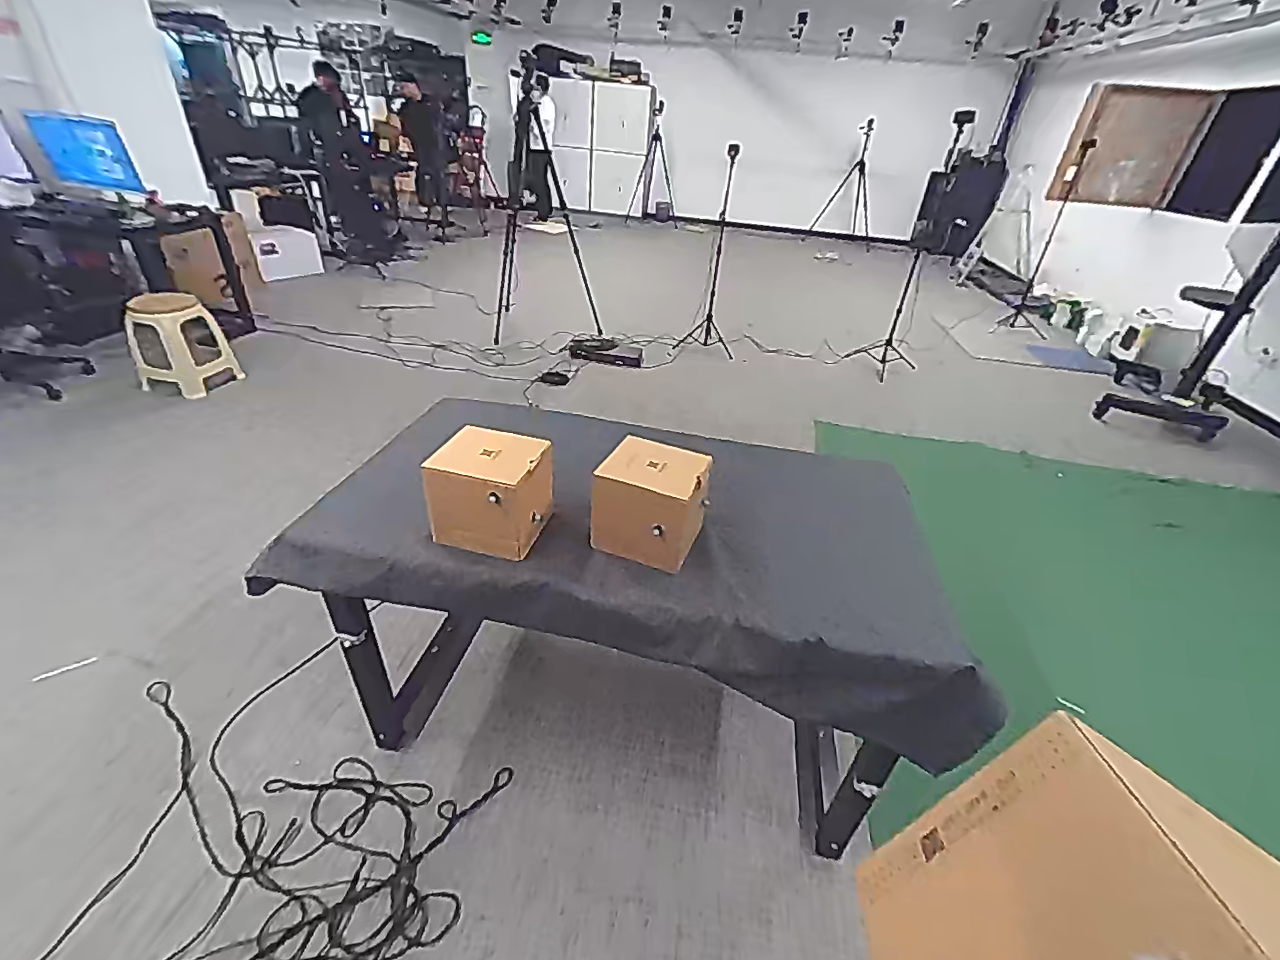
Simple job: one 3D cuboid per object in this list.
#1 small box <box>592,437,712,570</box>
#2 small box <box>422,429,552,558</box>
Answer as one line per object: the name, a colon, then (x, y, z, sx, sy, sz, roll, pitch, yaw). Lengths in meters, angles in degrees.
small box: (0.021, 0.044, 1.016, 0.179, 0.176, 0.168, 14, 33, 16)
small box: (-0.275, 0.025, 1.008, 0.179, 0.176, 0.168, 11, 32, 8)
